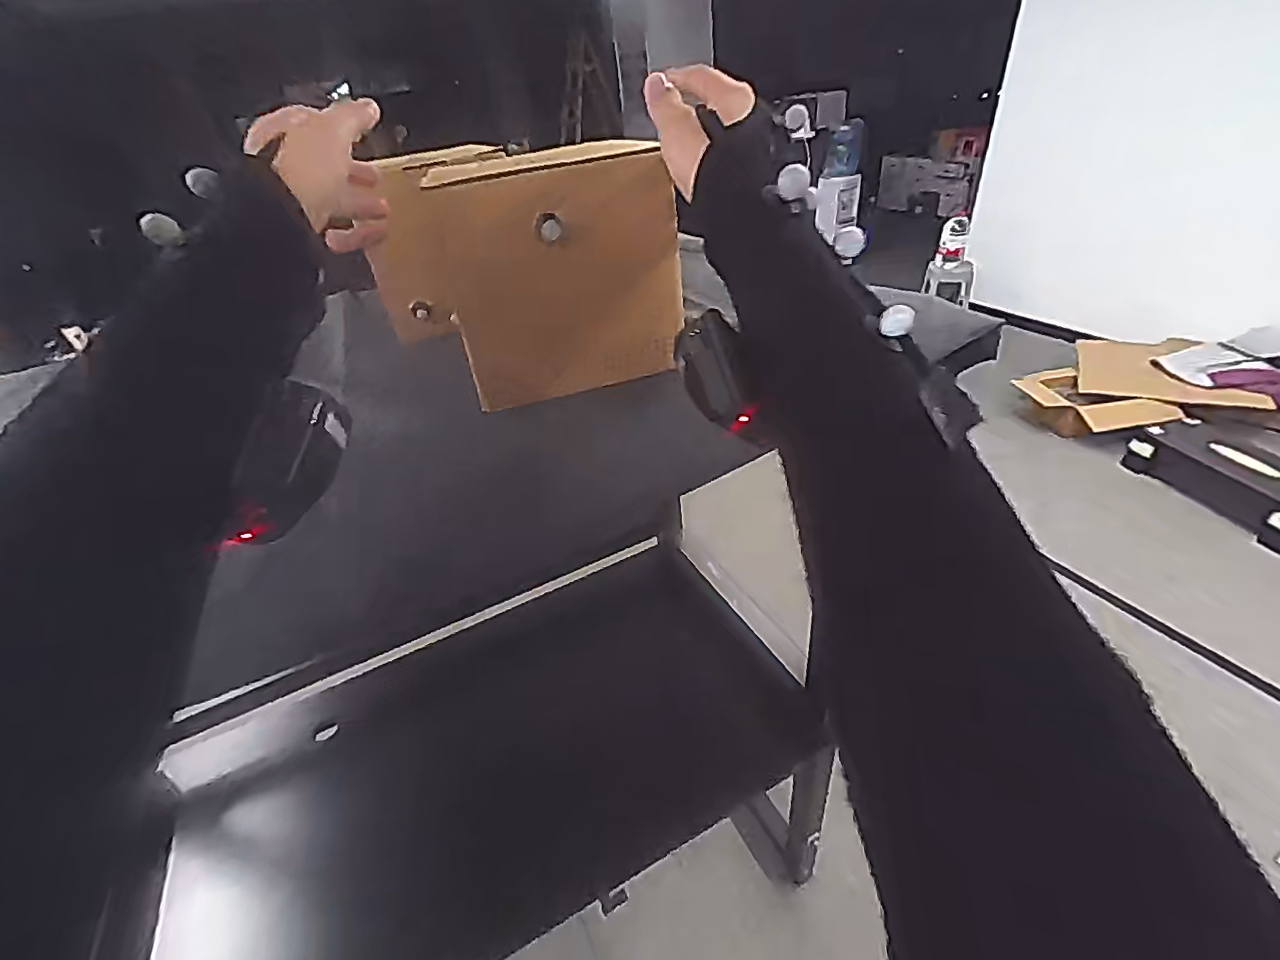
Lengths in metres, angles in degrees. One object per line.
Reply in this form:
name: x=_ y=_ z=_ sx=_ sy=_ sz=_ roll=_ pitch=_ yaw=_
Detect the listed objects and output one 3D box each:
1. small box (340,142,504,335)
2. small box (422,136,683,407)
small box: x=-0.231 y=-0.286 z=0.641 sx=0.168 sy=0.176 sz=0.179 roll=-20 pitch=37 yaw=-15
small box: x=-0.068 y=-0.184 z=0.468 sx=0.179 sy=0.176 sz=0.168 roll=-16 pitch=35 yaw=-8
